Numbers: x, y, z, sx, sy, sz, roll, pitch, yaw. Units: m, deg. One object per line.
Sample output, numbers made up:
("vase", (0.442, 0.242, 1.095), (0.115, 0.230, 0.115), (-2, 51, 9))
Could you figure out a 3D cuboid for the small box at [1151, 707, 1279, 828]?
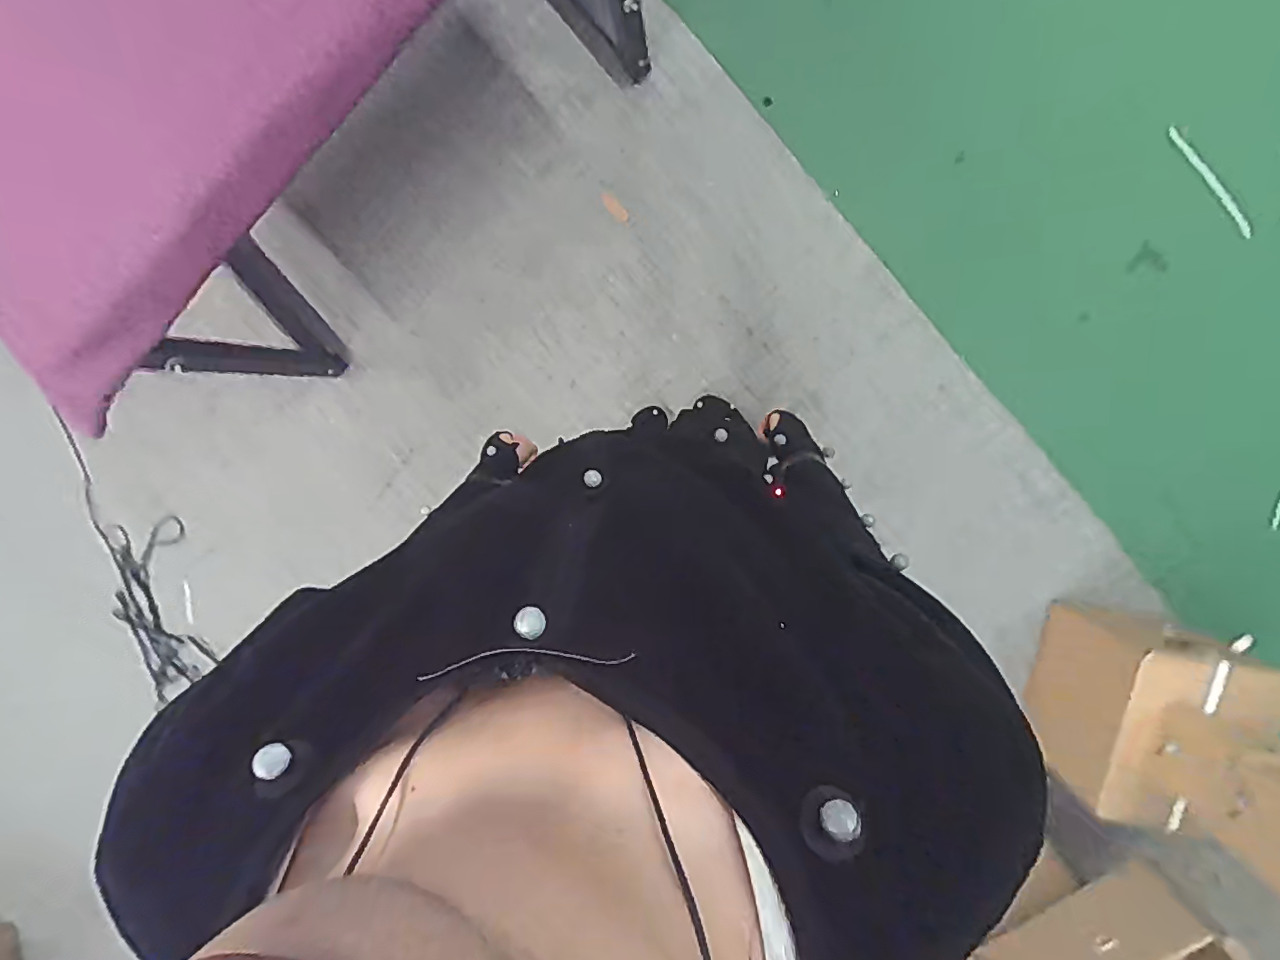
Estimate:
("small box", (1.197, 0.582, 1.076), (0.179, 0.176, 0.168), (12, 99, 5))
